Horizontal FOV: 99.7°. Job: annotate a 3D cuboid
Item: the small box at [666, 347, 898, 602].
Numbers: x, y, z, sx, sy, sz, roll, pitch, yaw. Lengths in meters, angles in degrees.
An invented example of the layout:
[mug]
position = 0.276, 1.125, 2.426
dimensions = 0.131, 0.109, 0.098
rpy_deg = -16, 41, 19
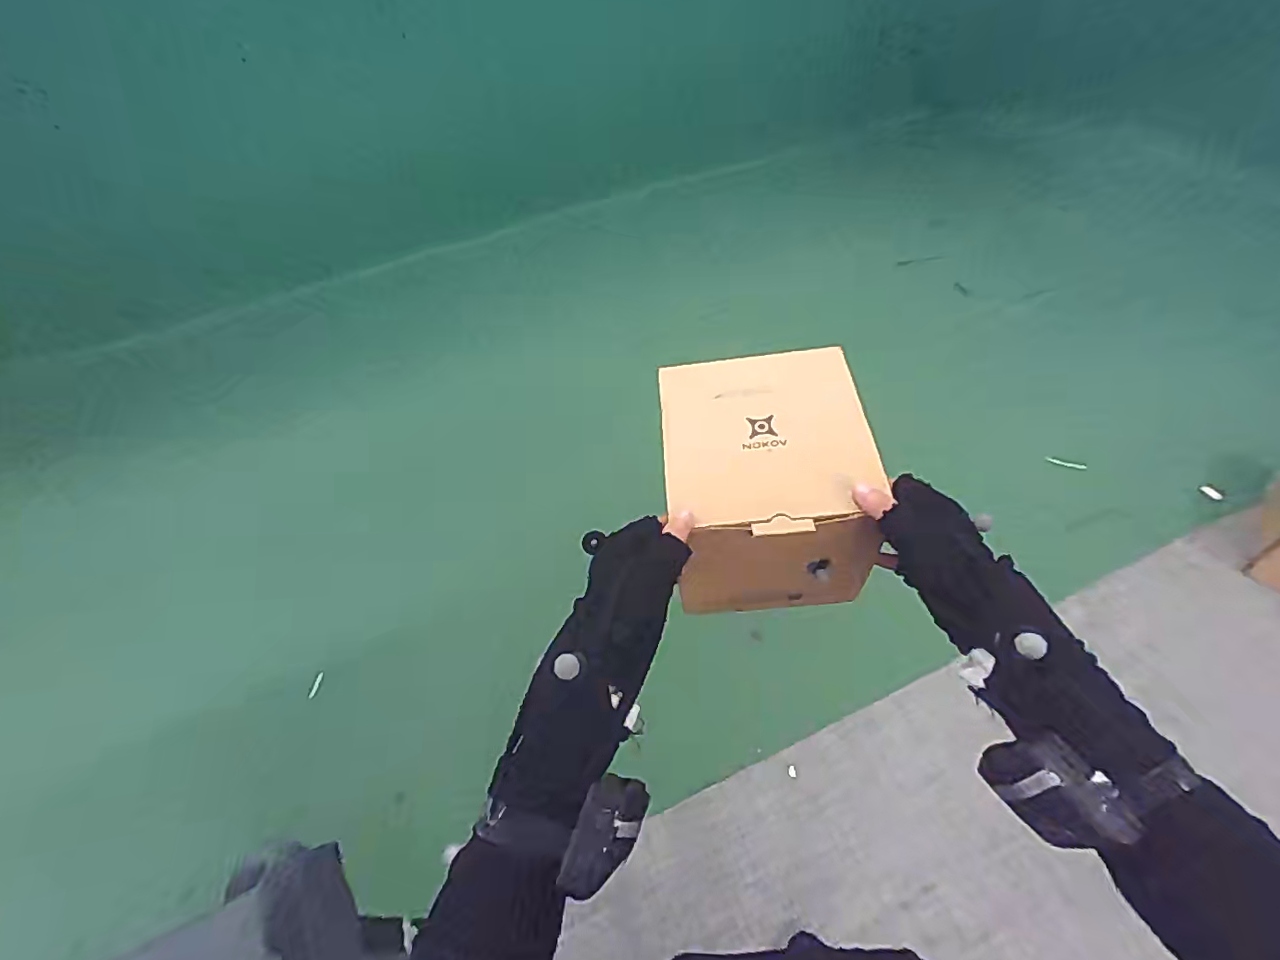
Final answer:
[small box]
position = 0.116, 0.005, 0.506
dimensions = 0.168, 0.176, 0.179
rpy_deg = -5, 53, 5
